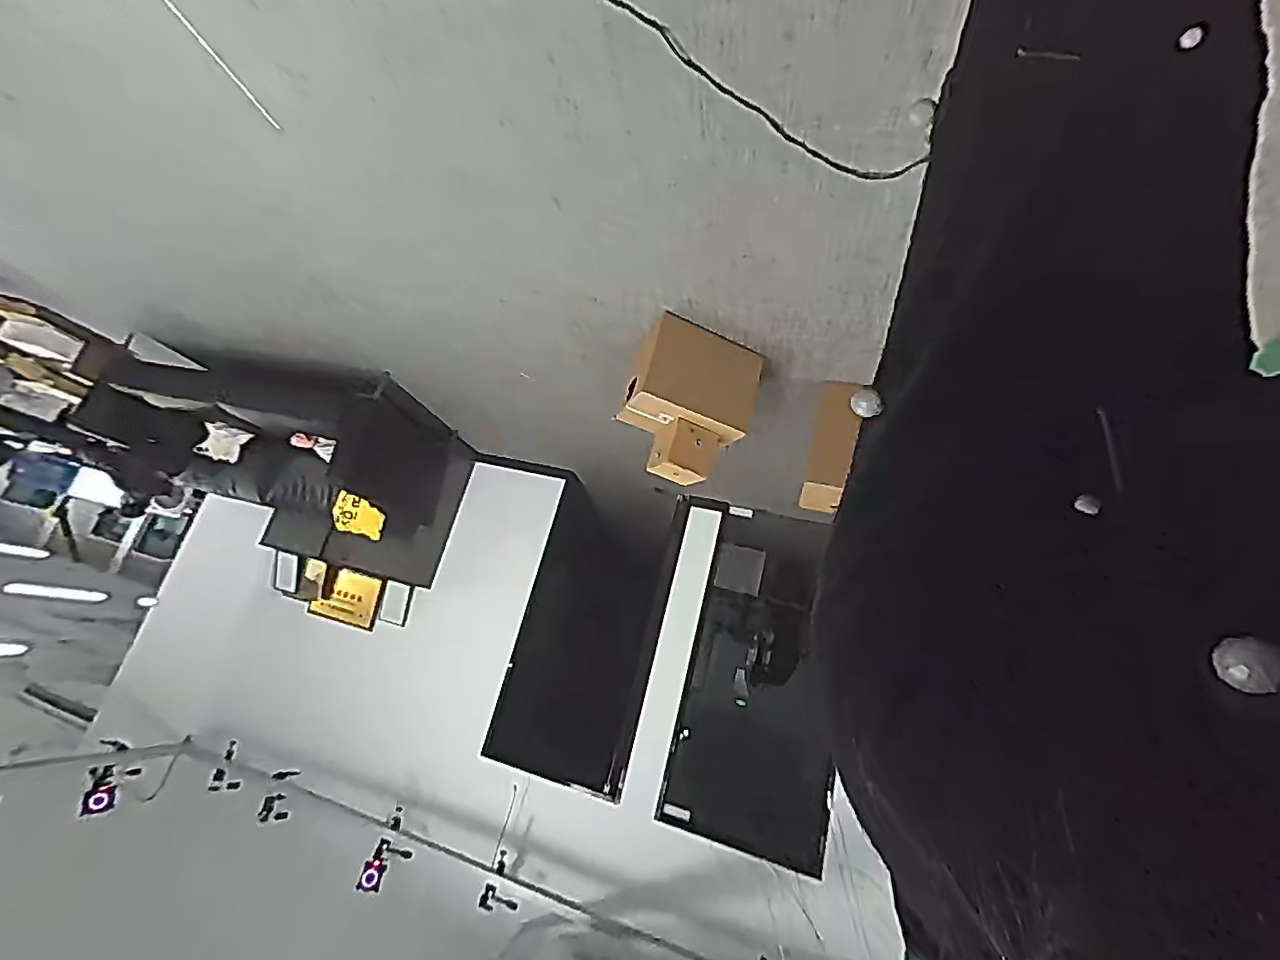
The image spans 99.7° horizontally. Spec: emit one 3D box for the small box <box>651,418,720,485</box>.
[{"bbox_3d":[0.163,-0.098,1.910,0.168,0.176,0.179,21,164,-19],"label":"small box"}]

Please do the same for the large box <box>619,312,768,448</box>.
[{"bbox_3d":[0.189,-0.340,1.957,0.408,0.320,0.320,21,163,-14],"label":"large box"}]
